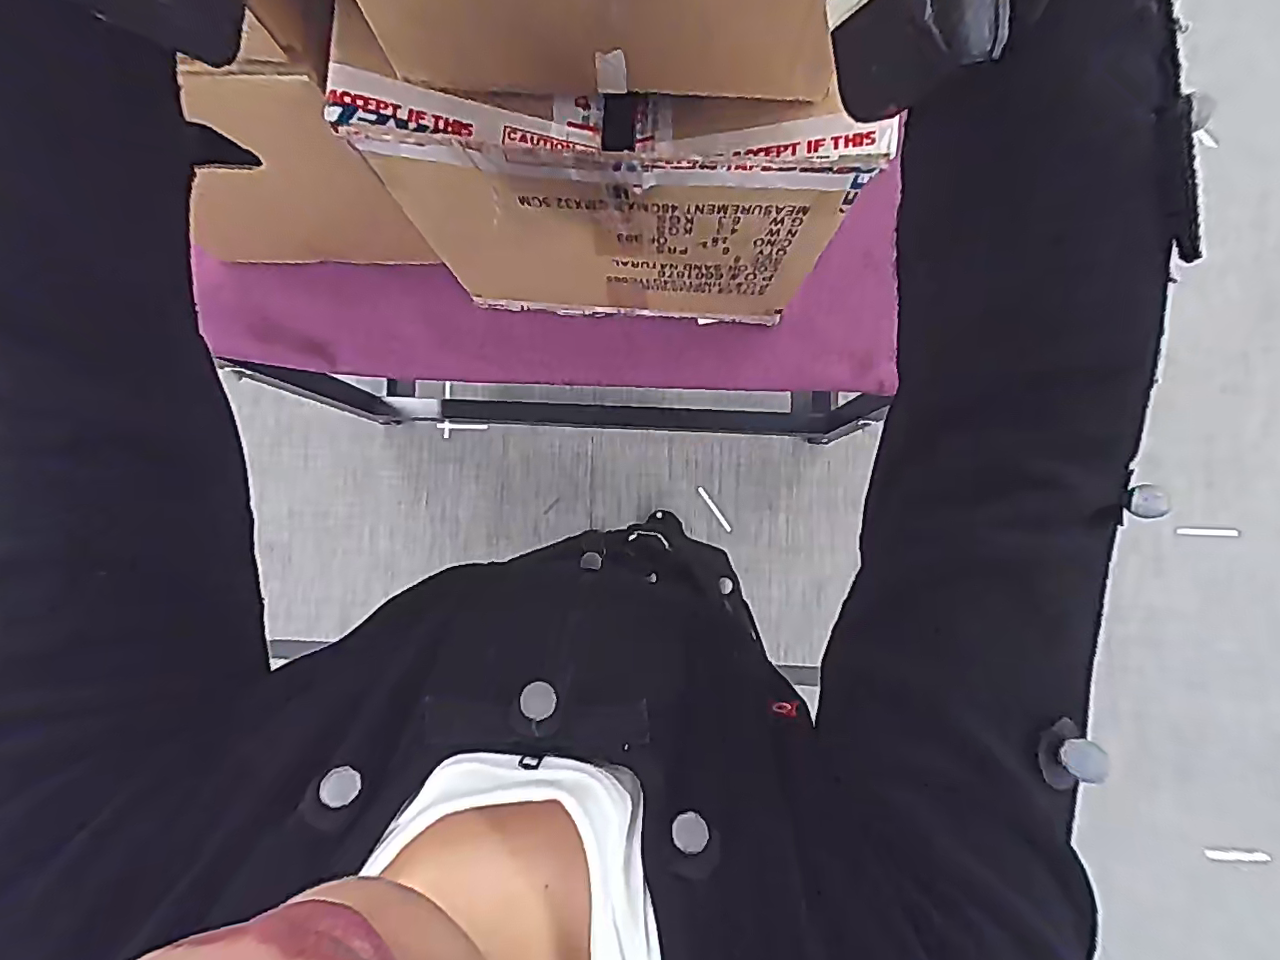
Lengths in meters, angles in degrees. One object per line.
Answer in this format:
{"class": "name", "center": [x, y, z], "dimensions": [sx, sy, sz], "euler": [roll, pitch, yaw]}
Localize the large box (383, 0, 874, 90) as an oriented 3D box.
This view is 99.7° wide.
{"class": "large box", "center": [-0.004, -0.490, 0.250], "dimensions": [0.320, 0.320, 0.408], "euler": [2, 87, 1]}
